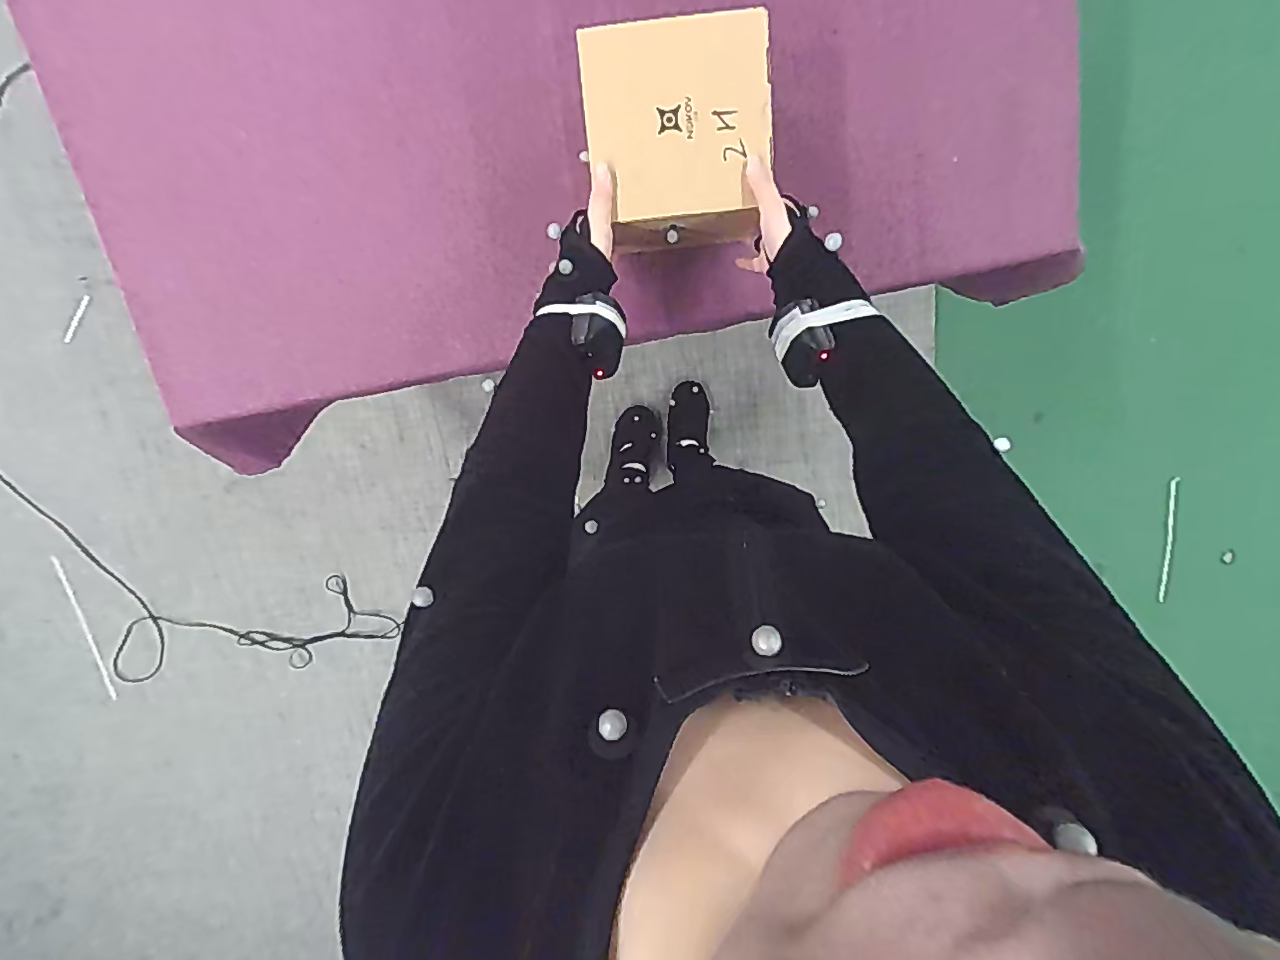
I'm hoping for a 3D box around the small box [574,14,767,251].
[{"bbox_3d":[0.034,-0.353,0.586,0.179,0.176,0.168,-4,104,3],"label":"small box"}]
